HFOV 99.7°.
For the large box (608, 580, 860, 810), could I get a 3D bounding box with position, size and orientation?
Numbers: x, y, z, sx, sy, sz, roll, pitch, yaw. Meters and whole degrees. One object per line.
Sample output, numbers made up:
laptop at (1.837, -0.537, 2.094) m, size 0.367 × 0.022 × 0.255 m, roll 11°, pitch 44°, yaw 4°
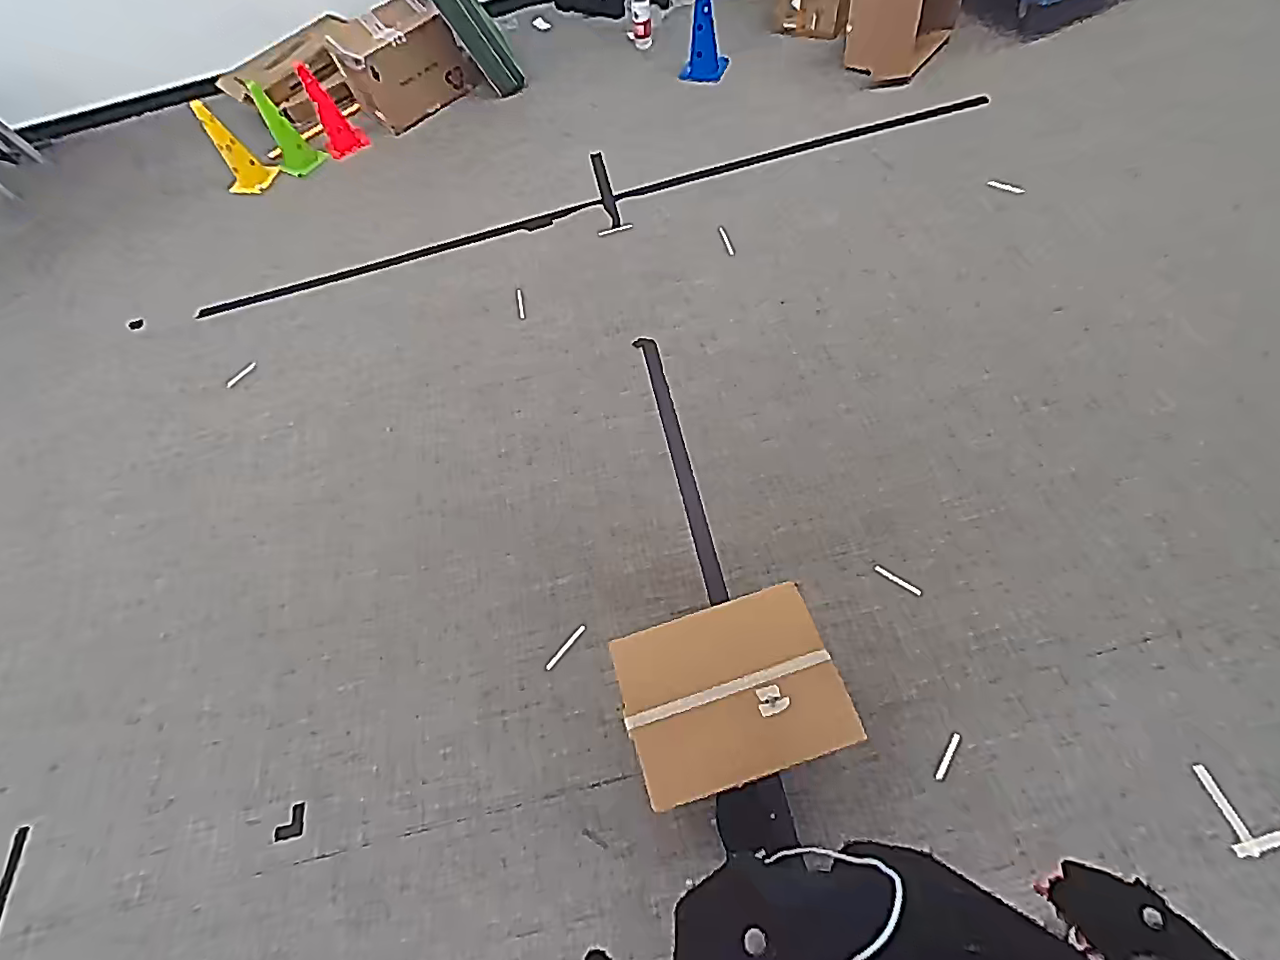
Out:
large box at (0.182, 0.464, 1.158) m, size 0.408 × 0.320 × 0.320 m, roll -18°, pitch 62°, yaw -2°
